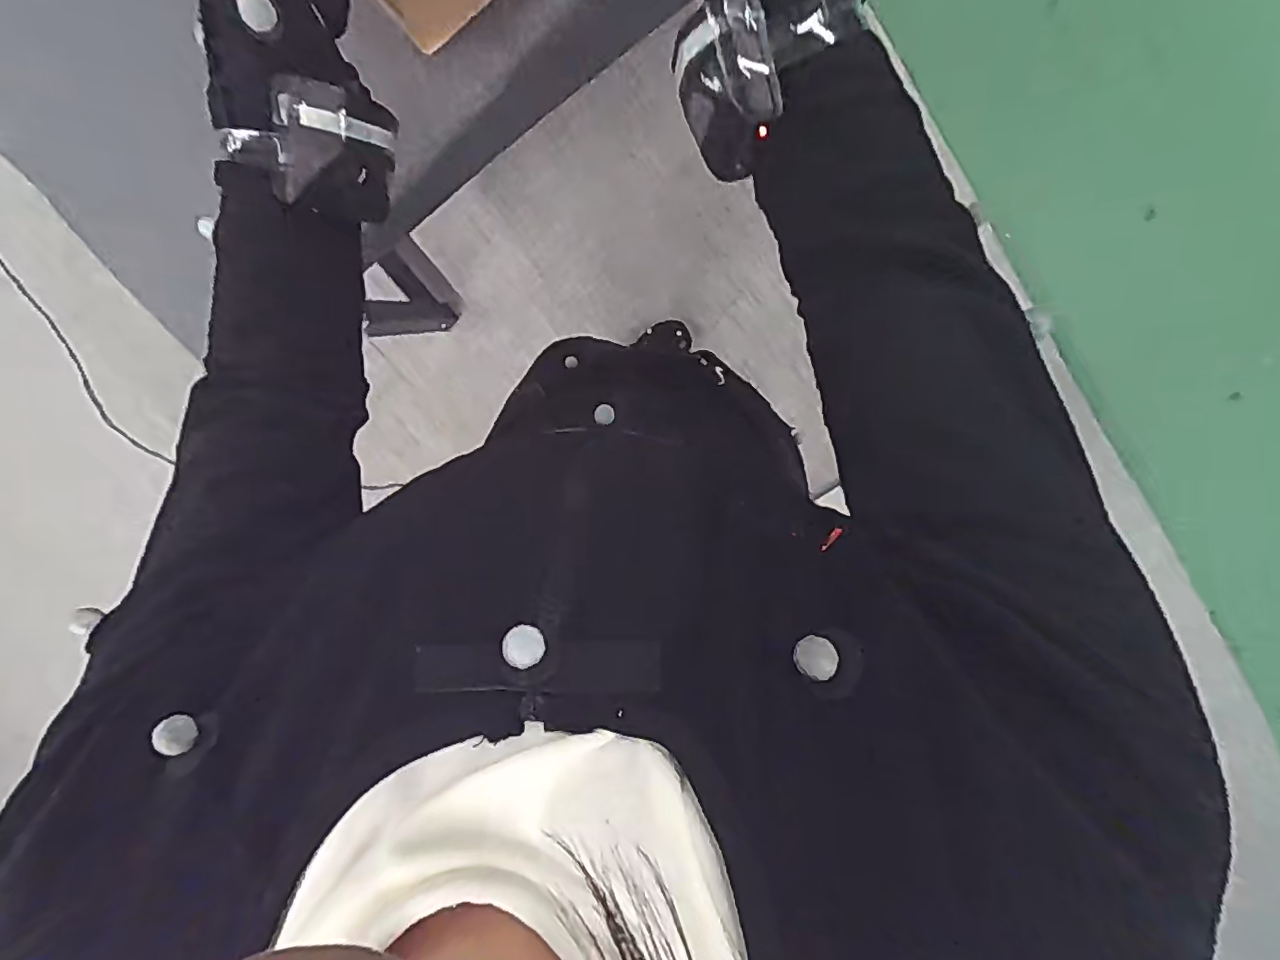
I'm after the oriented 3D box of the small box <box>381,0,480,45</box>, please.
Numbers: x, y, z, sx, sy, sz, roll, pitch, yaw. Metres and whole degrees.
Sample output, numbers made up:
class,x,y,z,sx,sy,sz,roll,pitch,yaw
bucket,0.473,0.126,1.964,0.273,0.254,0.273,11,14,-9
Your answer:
class,x,y,z,sx,sy,sz,roll,pitch,yaw
small box,-0.200,-0.530,0.456,0.179,0.176,0.168,-33,101,13
